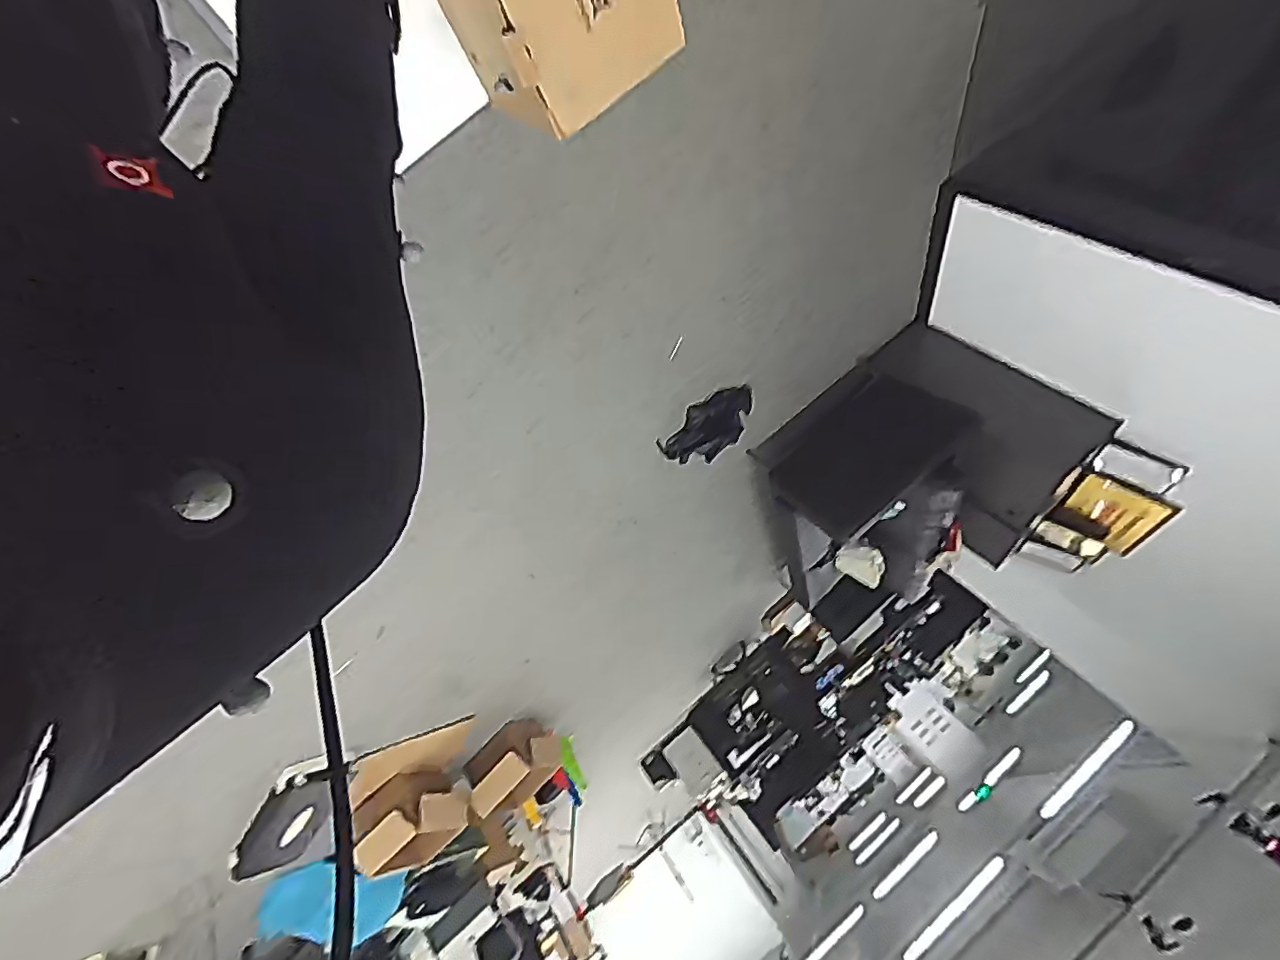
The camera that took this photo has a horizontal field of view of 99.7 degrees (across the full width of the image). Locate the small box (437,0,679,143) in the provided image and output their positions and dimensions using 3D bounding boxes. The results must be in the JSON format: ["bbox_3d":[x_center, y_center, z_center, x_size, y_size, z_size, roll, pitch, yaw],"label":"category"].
[{"bbox_3d":[-0.094,-0.488,0.543,0.179,0.176,0.168,-42,149,-4],"label":"small box"}]
